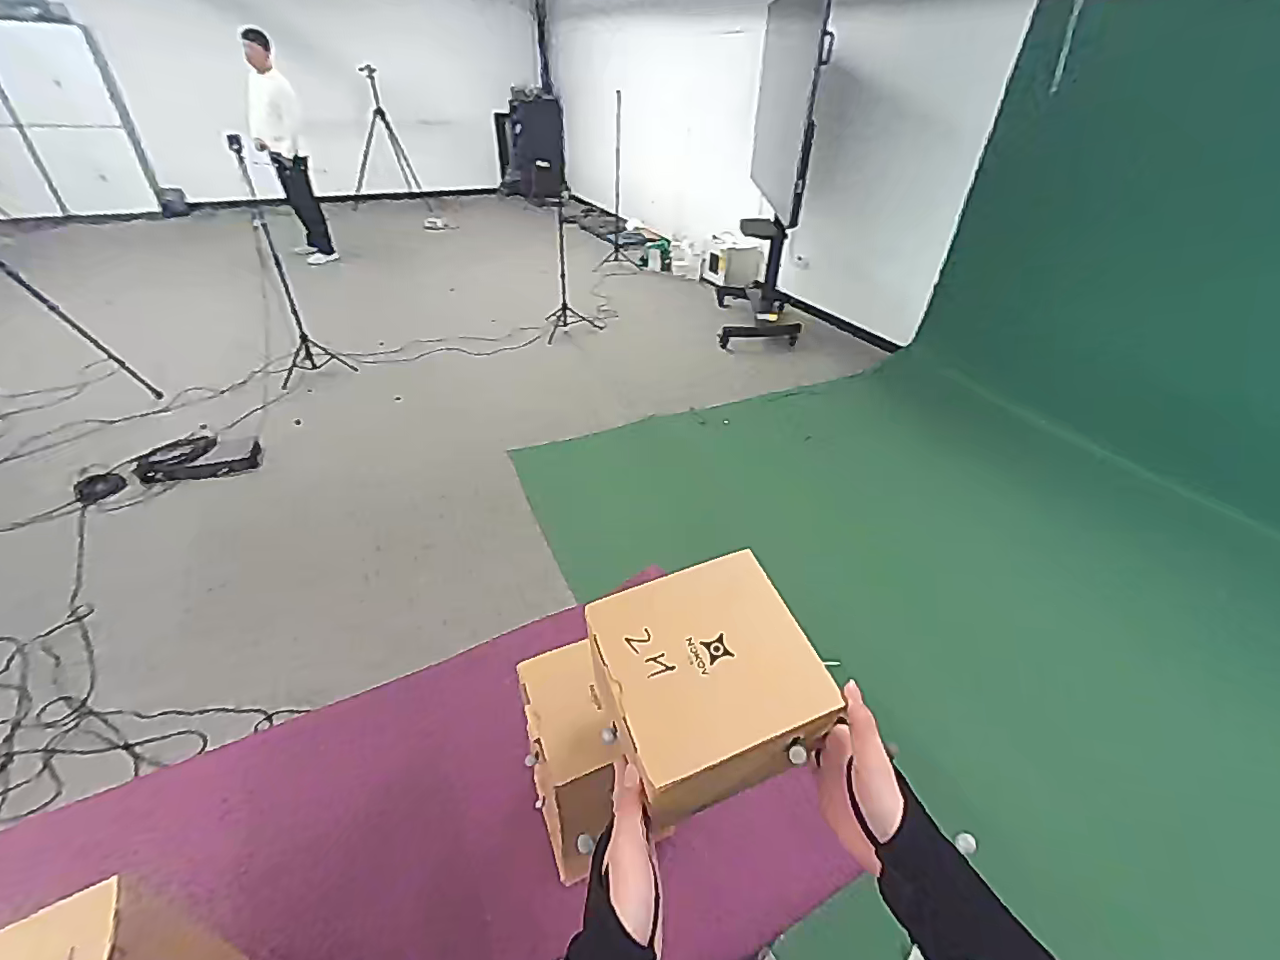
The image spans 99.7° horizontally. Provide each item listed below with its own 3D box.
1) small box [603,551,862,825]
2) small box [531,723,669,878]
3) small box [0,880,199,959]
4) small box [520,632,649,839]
[{"bbox_3d":[0.071,0.200,0.522,0.179,0.176,0.168,-16,50,-13],"label":"small box"},{"bbox_3d":[-0.053,0.445,0.806,0.179,0.176,0.168,-14,41,-20],"label":"small box"},{"bbox_3d":[-0.498,0.484,0.441,0.179,0.176,0.168,-18,42,-26],"label":"small box"},{"bbox_3d":[-0.042,0.321,0.698,0.179,0.176,0.168,-14,41,-19],"label":"small box"}]
